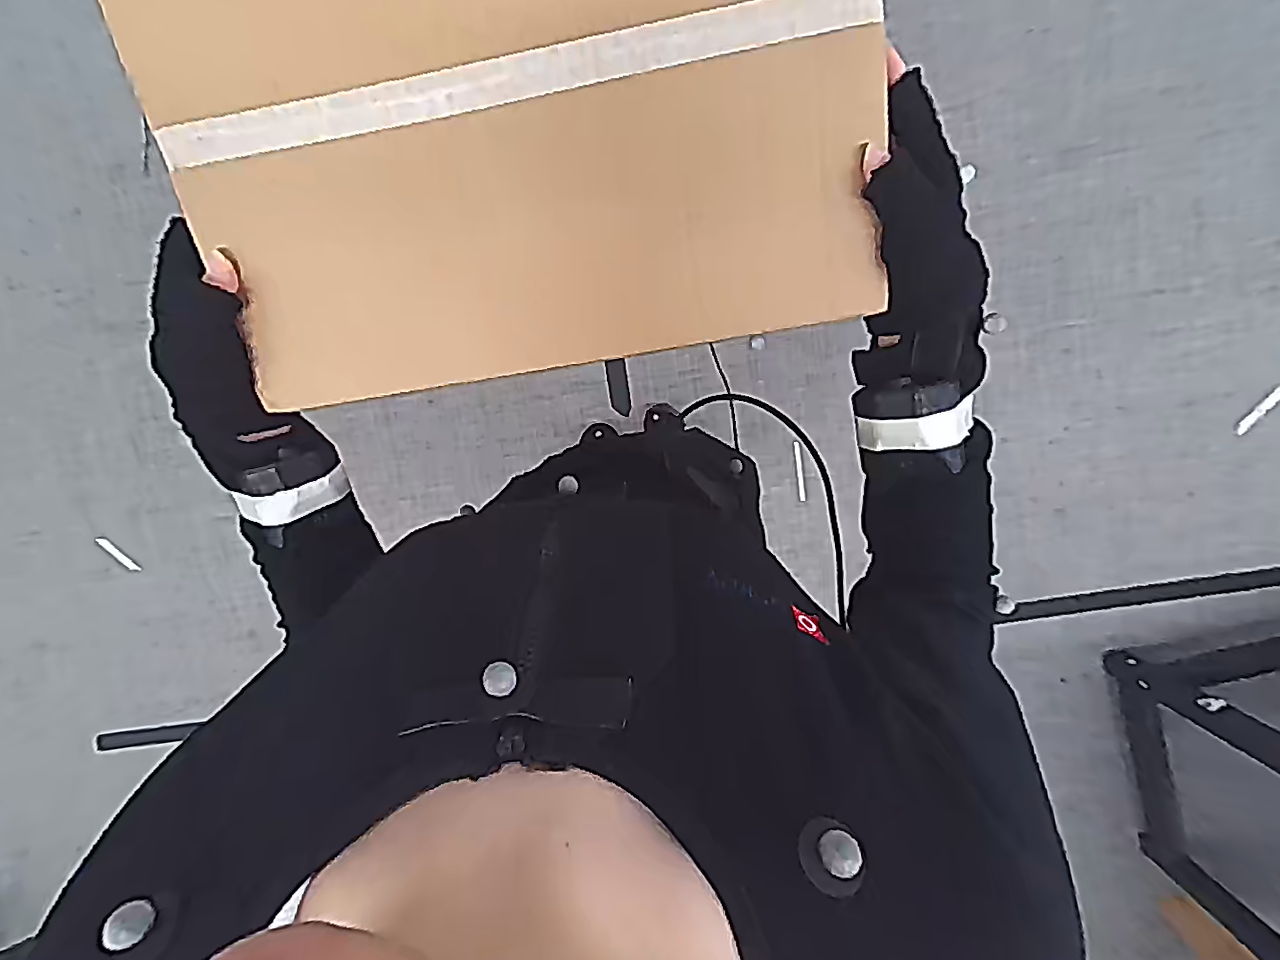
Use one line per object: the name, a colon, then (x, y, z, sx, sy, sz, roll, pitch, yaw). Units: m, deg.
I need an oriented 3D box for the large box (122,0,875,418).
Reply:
large box: (-0.068, -0.265, 0.448, 0.408, 0.320, 0.320, -9, 108, 5)
